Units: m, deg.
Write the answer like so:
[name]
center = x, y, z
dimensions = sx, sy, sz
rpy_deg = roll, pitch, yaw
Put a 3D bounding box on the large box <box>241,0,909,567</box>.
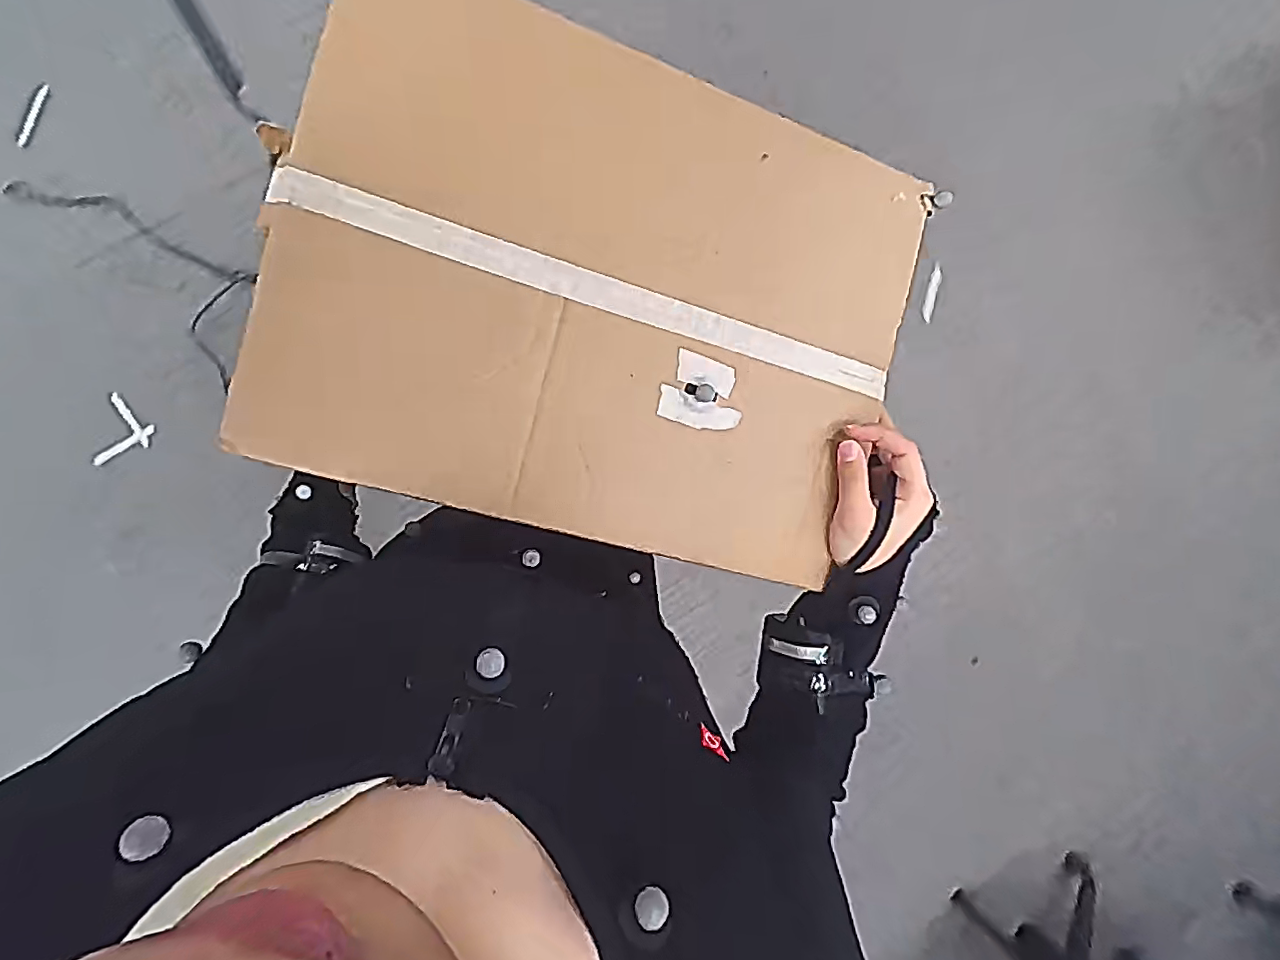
[large box]
center = -0.051, -0.130, 0.505
dimensions = 0.408, 0.320, 0.320
rpy_deg = 14, 90, -15
